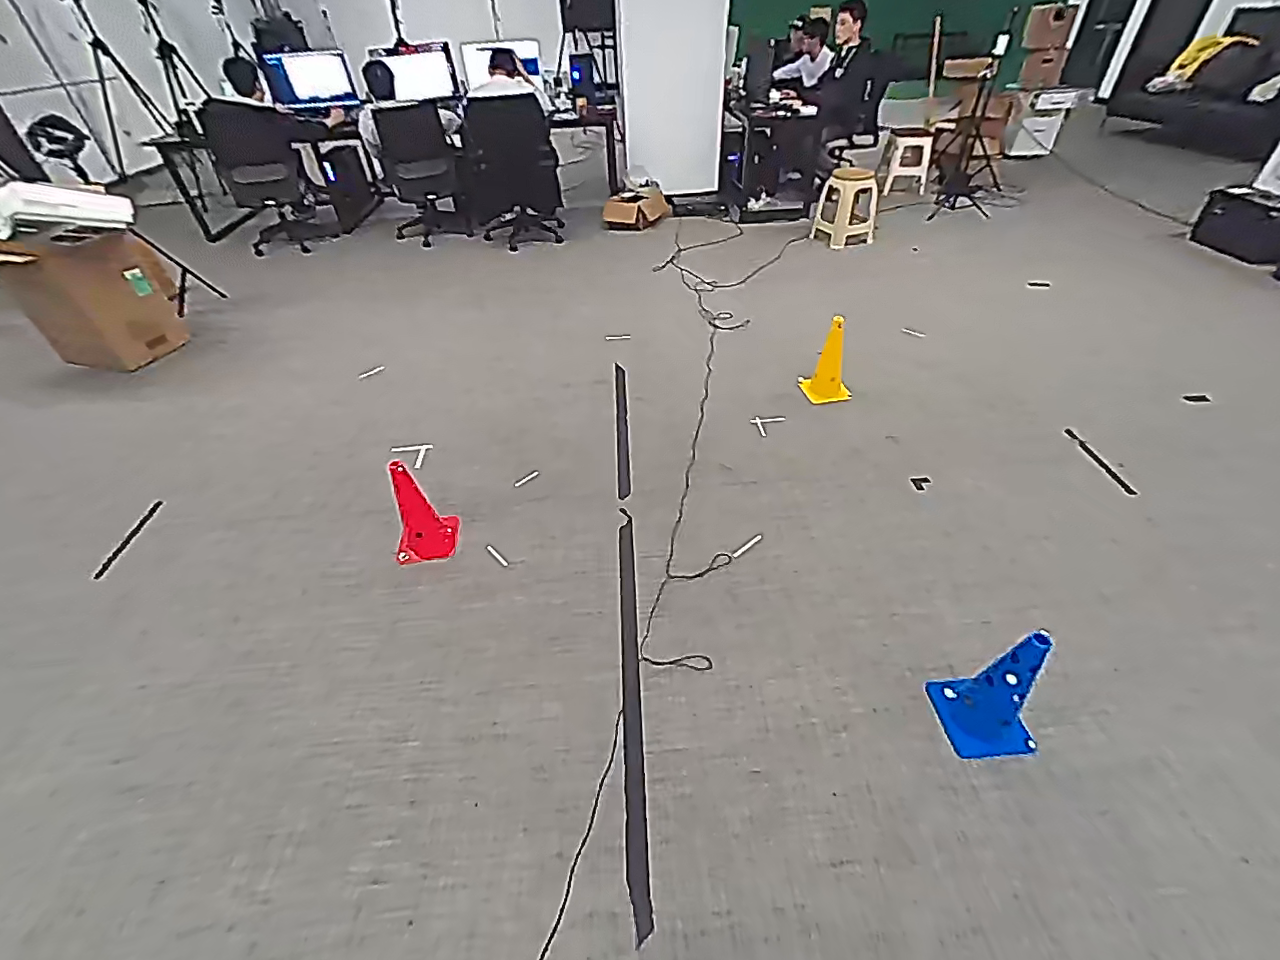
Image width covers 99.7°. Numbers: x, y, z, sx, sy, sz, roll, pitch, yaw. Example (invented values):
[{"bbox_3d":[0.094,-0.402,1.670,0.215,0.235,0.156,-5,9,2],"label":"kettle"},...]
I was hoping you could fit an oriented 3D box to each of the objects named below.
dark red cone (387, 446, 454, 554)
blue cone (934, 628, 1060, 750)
[{"bbox_3d":[-0.763,0.056,1.796,0.201,0.394,0.202,-8,41,-7],"label":"dark red cone"},{"bbox_3d":[0.865,0.467,1.268,0.192,0.380,0.193,-3,41,-1],"label":"blue cone"}]
